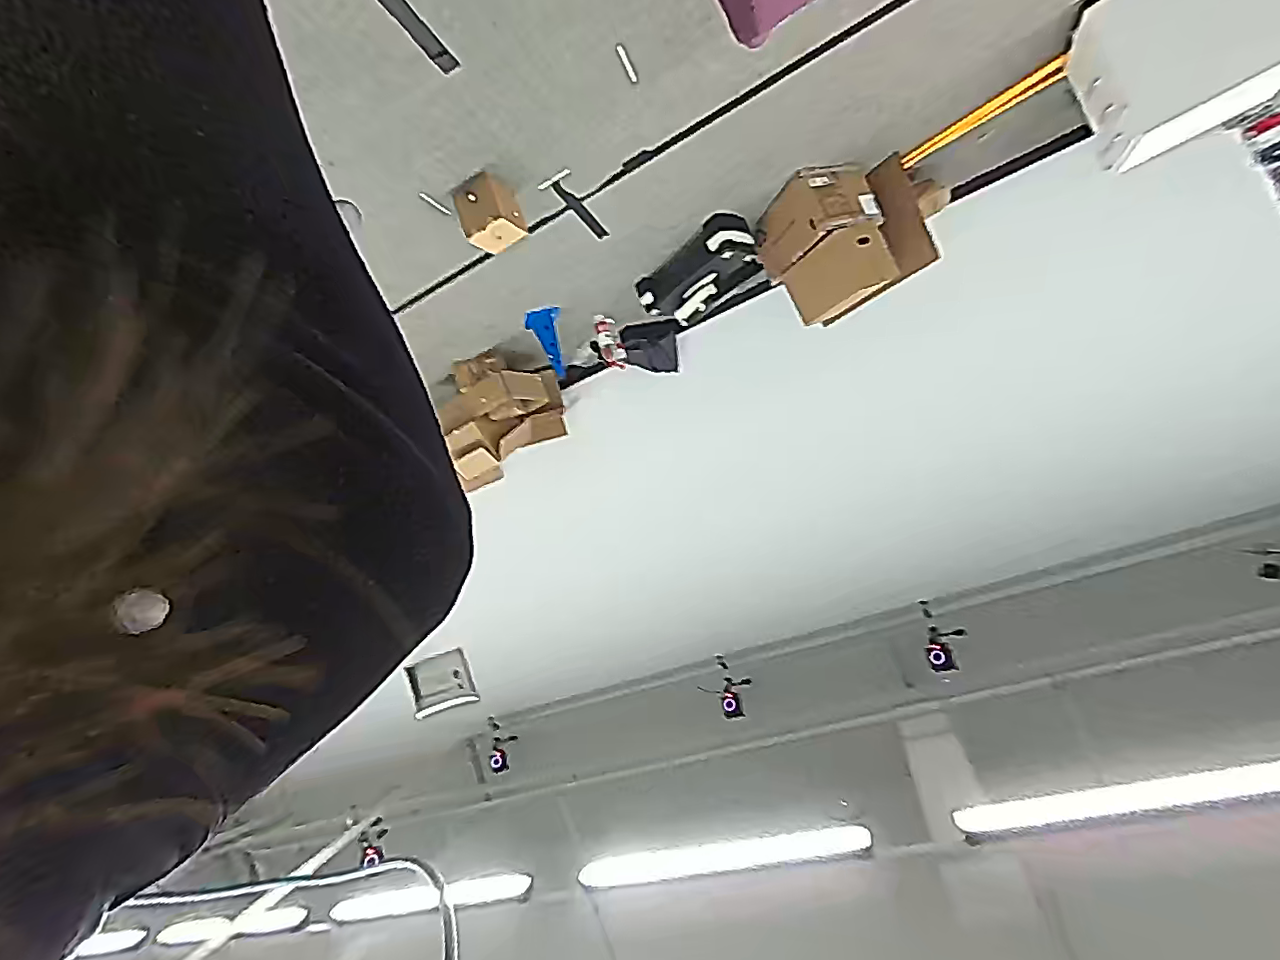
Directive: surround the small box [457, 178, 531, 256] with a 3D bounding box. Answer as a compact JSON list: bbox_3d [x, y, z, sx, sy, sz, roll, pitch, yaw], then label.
[{"bbox_3d":[-0.532,-0.958,1.973,0.168,0.176,0.179,-22,174,22],"label":"small box"}]
